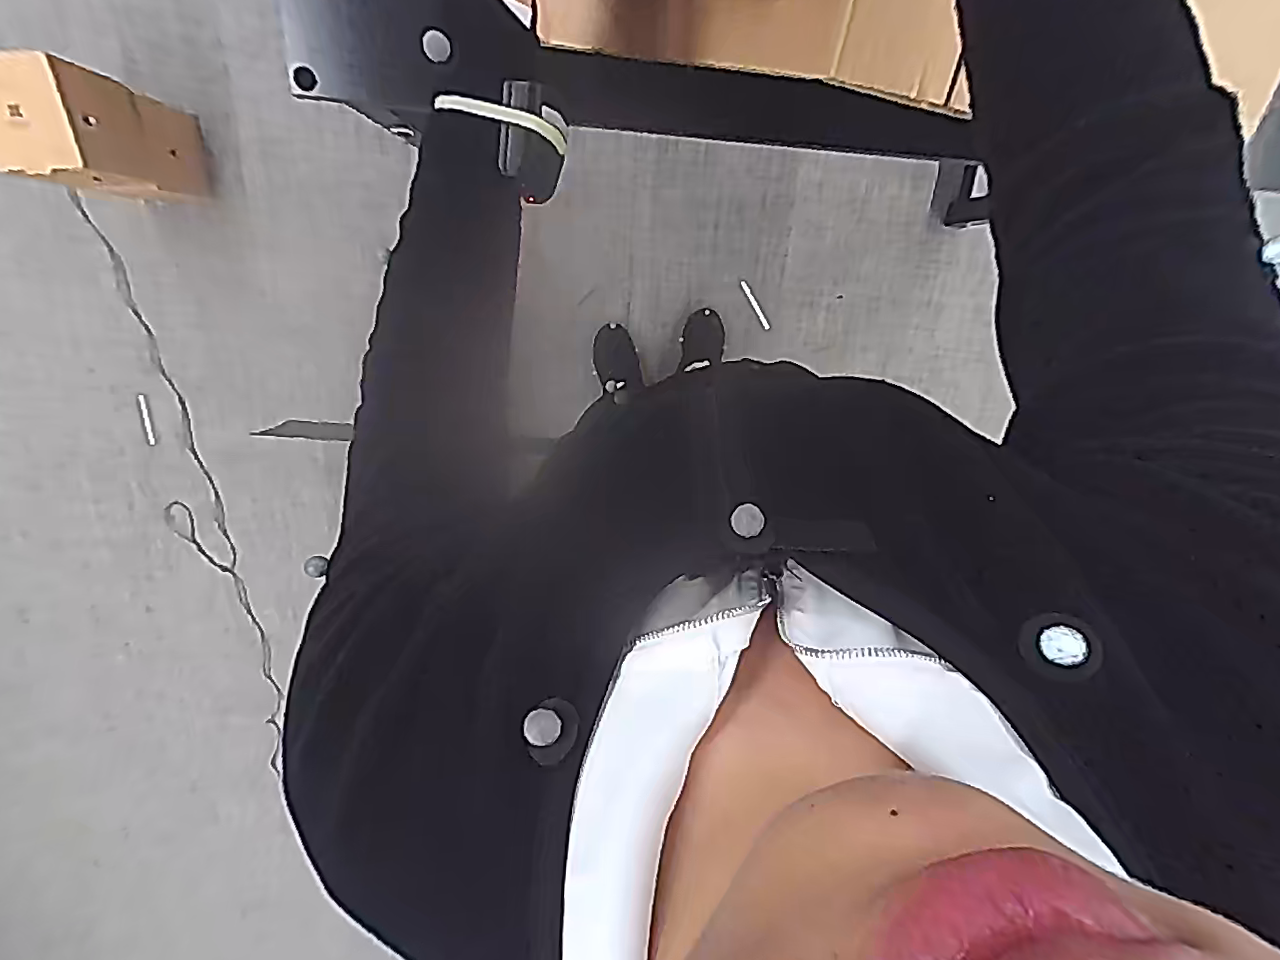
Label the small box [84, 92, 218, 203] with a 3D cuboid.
[{"bbox_3d":[-1.060,-0.704,1.157,0.168,0.176,0.179,0,111,-2],"label":"small box"}]

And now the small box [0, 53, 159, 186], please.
[{"bbox_3d":[-1.057,-0.654,1.003,0.168,0.176,0.179,-3,109,-1],"label":"small box"}]
